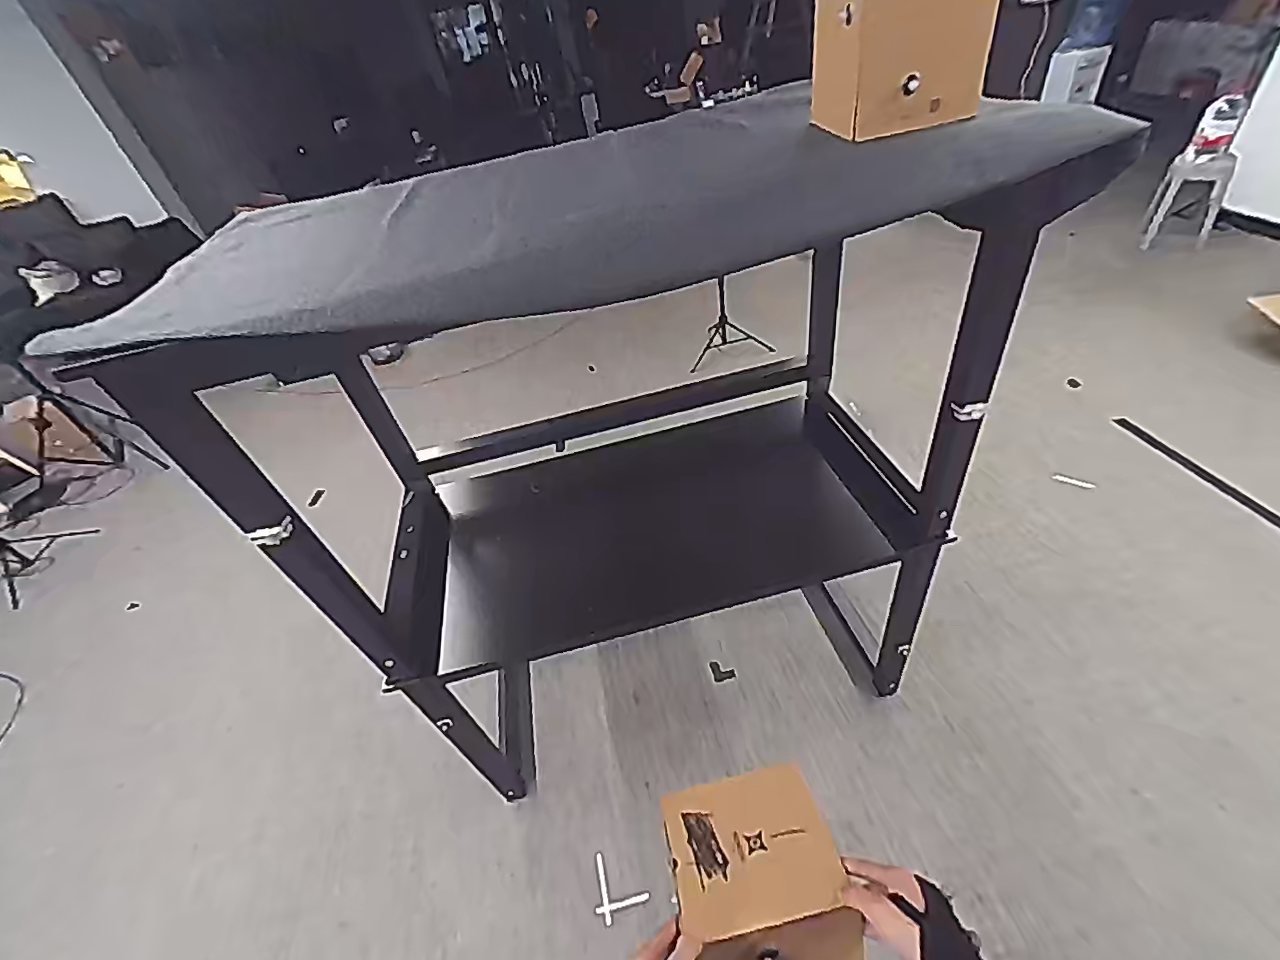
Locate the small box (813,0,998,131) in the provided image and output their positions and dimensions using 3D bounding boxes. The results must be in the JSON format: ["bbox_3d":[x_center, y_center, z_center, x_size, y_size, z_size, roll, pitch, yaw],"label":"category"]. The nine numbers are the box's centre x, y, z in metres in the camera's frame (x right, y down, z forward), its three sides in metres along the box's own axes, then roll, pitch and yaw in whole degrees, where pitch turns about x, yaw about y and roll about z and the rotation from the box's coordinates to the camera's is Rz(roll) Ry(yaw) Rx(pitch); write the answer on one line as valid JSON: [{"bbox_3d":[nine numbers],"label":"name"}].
[{"bbox_3d":[0.339,-0.586,0.722,0.168,0.176,0.179,-11,42,2],"label":"small box"}]
